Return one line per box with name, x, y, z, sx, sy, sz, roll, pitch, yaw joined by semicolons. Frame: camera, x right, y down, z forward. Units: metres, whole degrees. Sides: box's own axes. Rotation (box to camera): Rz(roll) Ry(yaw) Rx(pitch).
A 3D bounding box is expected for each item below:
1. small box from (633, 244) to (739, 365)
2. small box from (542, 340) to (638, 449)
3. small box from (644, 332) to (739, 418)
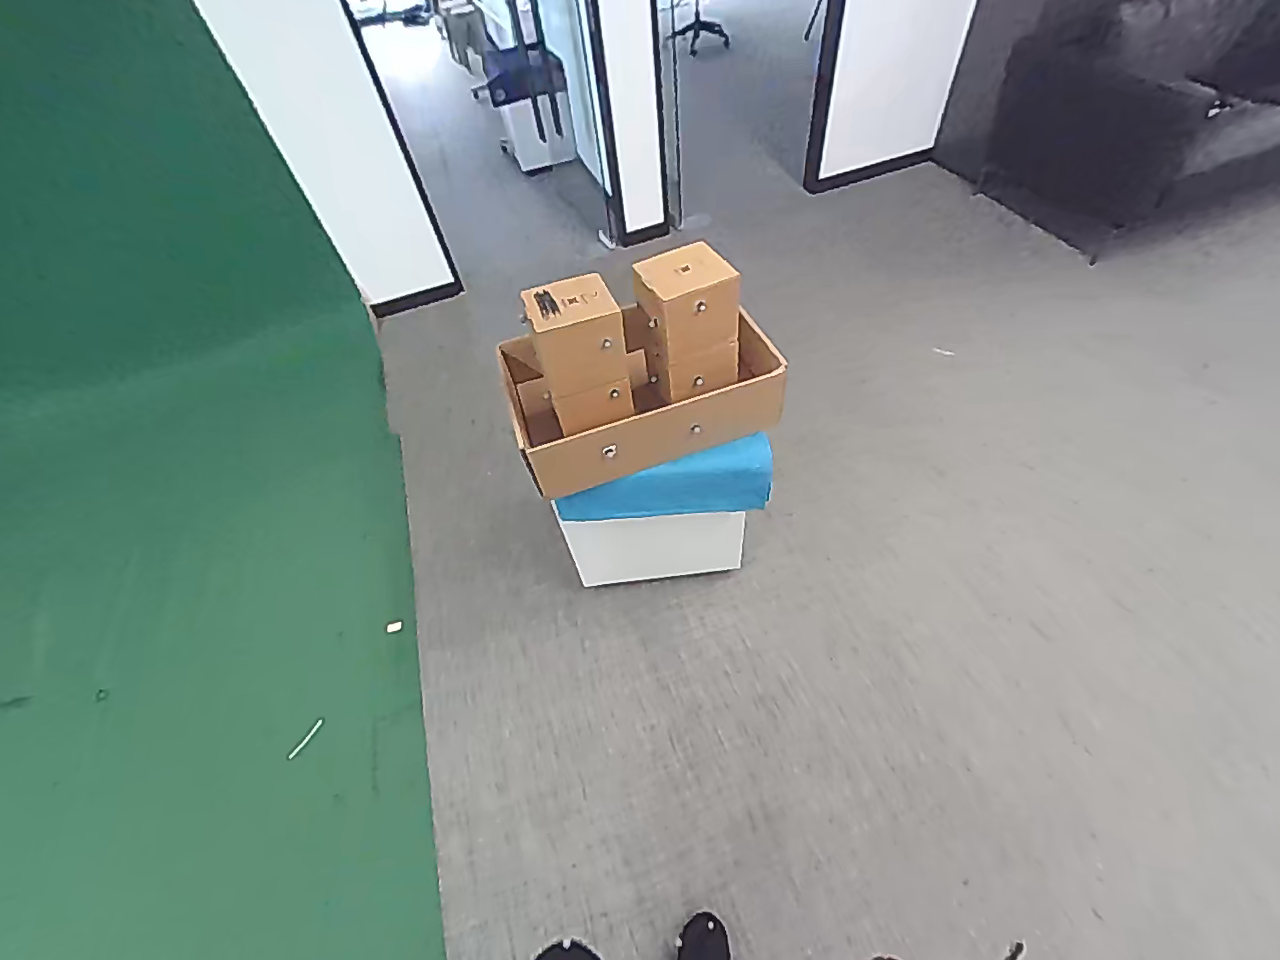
small box;0.105;-0.381;1.185;0.179;0.176;0.168;-22;51;-9
small box;-0.116;-0.199;1.288;0.179;0.176;0.168;-18;50;-8
small box;0.129;-0.278;1.311;0.179;0.176;0.168;-23;51;-7
